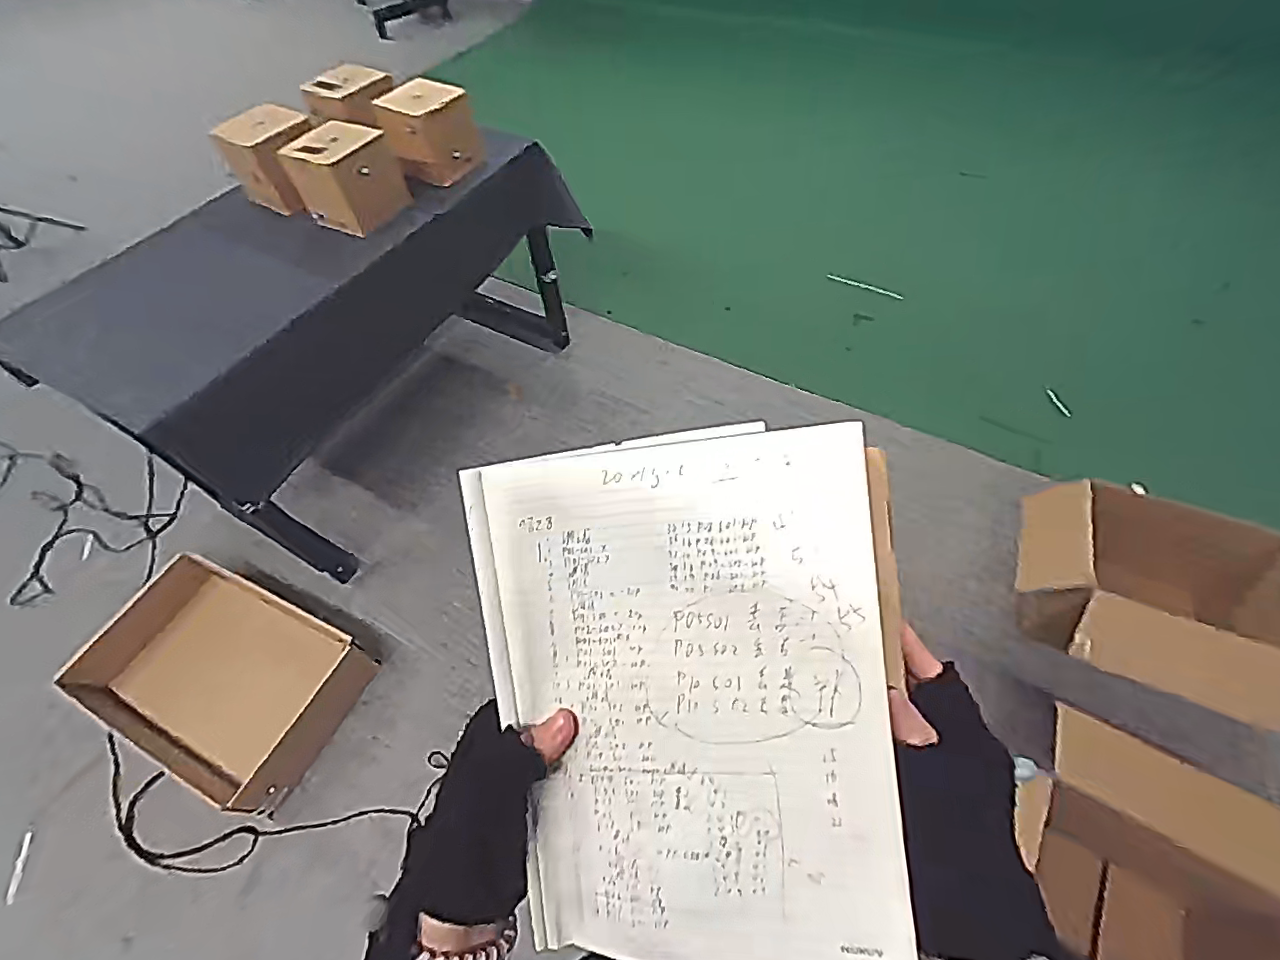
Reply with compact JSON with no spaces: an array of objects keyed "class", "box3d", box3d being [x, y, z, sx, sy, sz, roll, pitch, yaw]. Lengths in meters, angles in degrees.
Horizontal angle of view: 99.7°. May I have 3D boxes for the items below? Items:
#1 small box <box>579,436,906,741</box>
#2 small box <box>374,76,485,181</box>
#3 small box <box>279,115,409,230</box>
[{"class":"small box","box3d":[0.067,0.071,0.383,0.179,0.176,0.168,0,78,9]},{"class":"small box","box3d":[-0.534,-0.900,1.391,0.179,0.176,0.168,28,62,20]},{"class":"small box","box3d":[-0.685,-0.720,1.274,0.168,0.176,0.179,23,59,17]}]
